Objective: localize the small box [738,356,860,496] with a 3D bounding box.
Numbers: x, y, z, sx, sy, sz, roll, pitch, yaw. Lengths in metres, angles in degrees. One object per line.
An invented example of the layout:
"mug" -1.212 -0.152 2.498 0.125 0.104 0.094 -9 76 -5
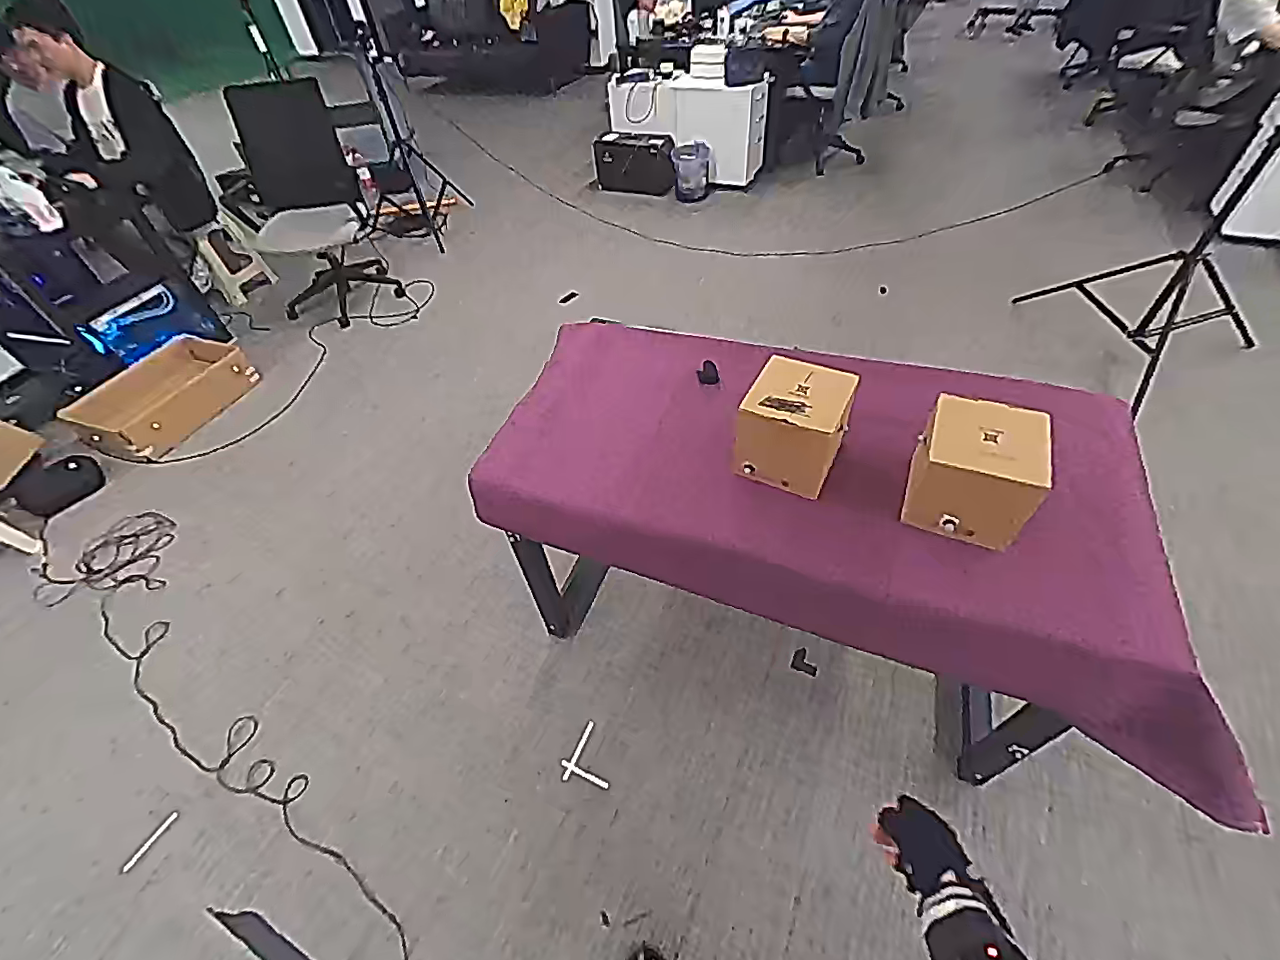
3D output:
"small box" 0.291 -0.099 1.014 0.168 0.176 0.179 21 52 22

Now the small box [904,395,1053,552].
"small box" 0.562 -0.011 0.911 0.168 0.176 0.179 16 52 20
